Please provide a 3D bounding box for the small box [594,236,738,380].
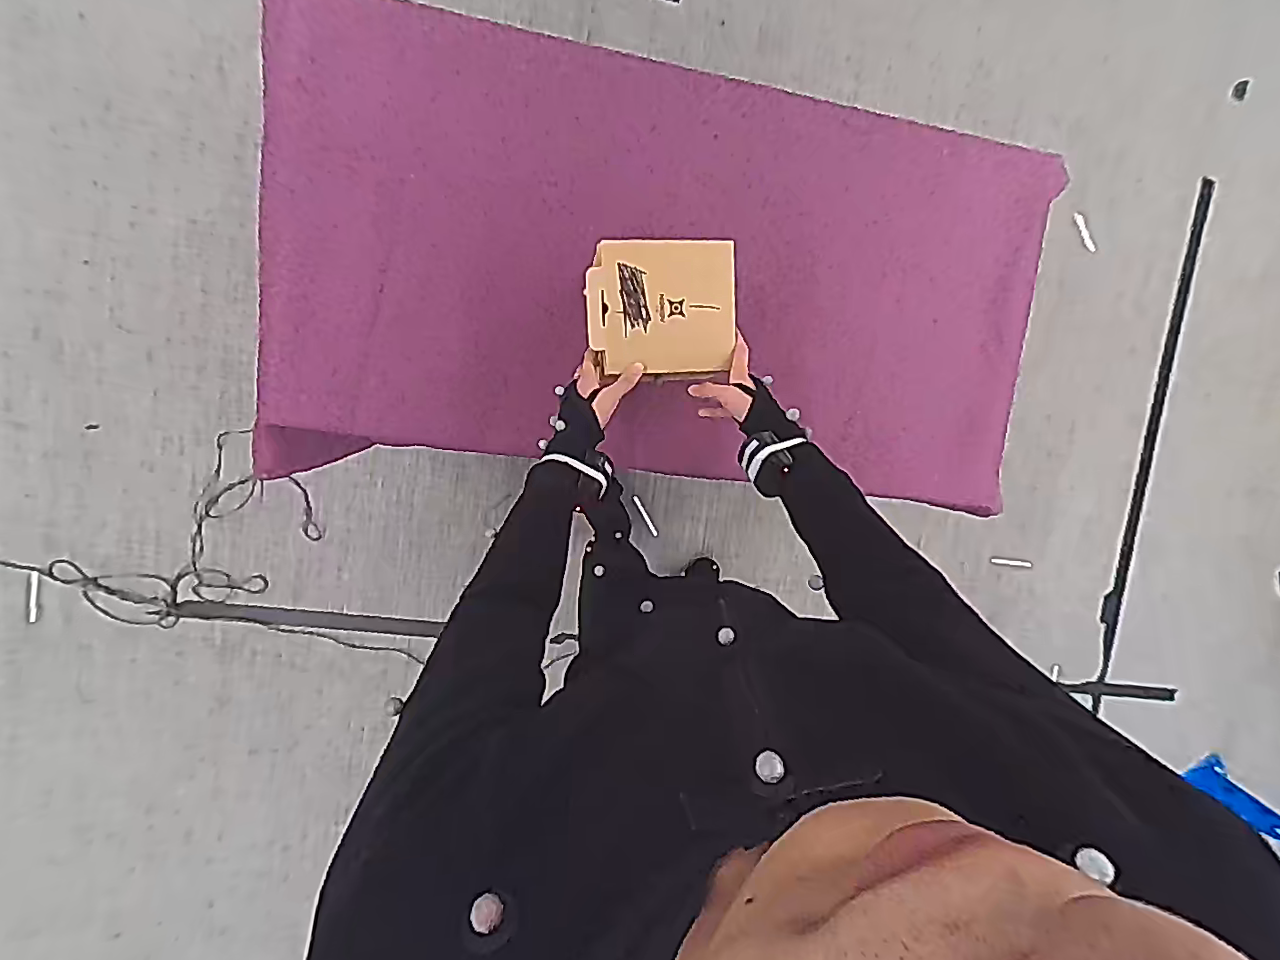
[{"bbox_3d":[0.028,-0.230,0.760,0.179,0.176,0.168,-4,98,-8],"label":"small box"}]
